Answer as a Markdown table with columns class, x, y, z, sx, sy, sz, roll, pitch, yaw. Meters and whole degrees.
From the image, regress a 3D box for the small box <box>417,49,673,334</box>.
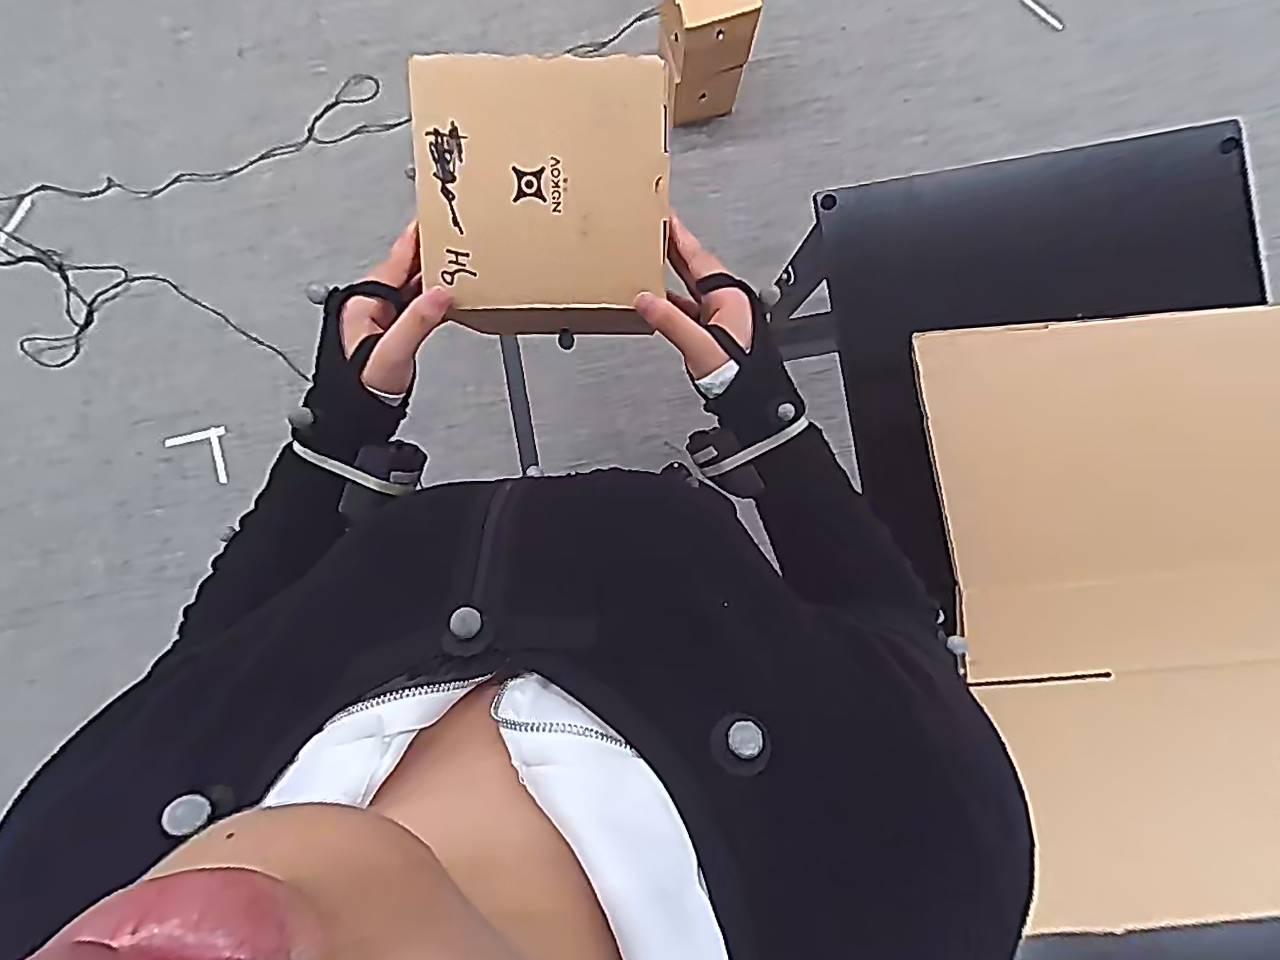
| class | x | y | z | sx | sy | sz | roll | pitch | yaw |
| --- | --- | --- | --- | --- | --- | --- | --- | --- | --- |
| small box | -0.069 | -0.220 | 0.458 | 0.179 | 0.176 | 0.168 | -1 | 98 | -3 |

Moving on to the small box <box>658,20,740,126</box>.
| class | x | y | z | sx | sy | sz | roll | pitch | yaw |
| --- | --- | --- | --- | --- | --- | --- | --- | --- | --- |
| small box | 0.148 | -1.077 | 1.419 | 0.179 | 0.176 | 0.168 | -14 | 90 | 1 |

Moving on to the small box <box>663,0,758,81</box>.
| class | x | y | z | sx | sy | sz | roll | pitch | yaw |
| --- | --- | --- | --- | --- | --- | --- | --- | --- | --- |
| small box | 0.154 | -1.079 | 1.257 | 0.179 | 0.176 | 0.168 | -17 | 91 | -1 |
